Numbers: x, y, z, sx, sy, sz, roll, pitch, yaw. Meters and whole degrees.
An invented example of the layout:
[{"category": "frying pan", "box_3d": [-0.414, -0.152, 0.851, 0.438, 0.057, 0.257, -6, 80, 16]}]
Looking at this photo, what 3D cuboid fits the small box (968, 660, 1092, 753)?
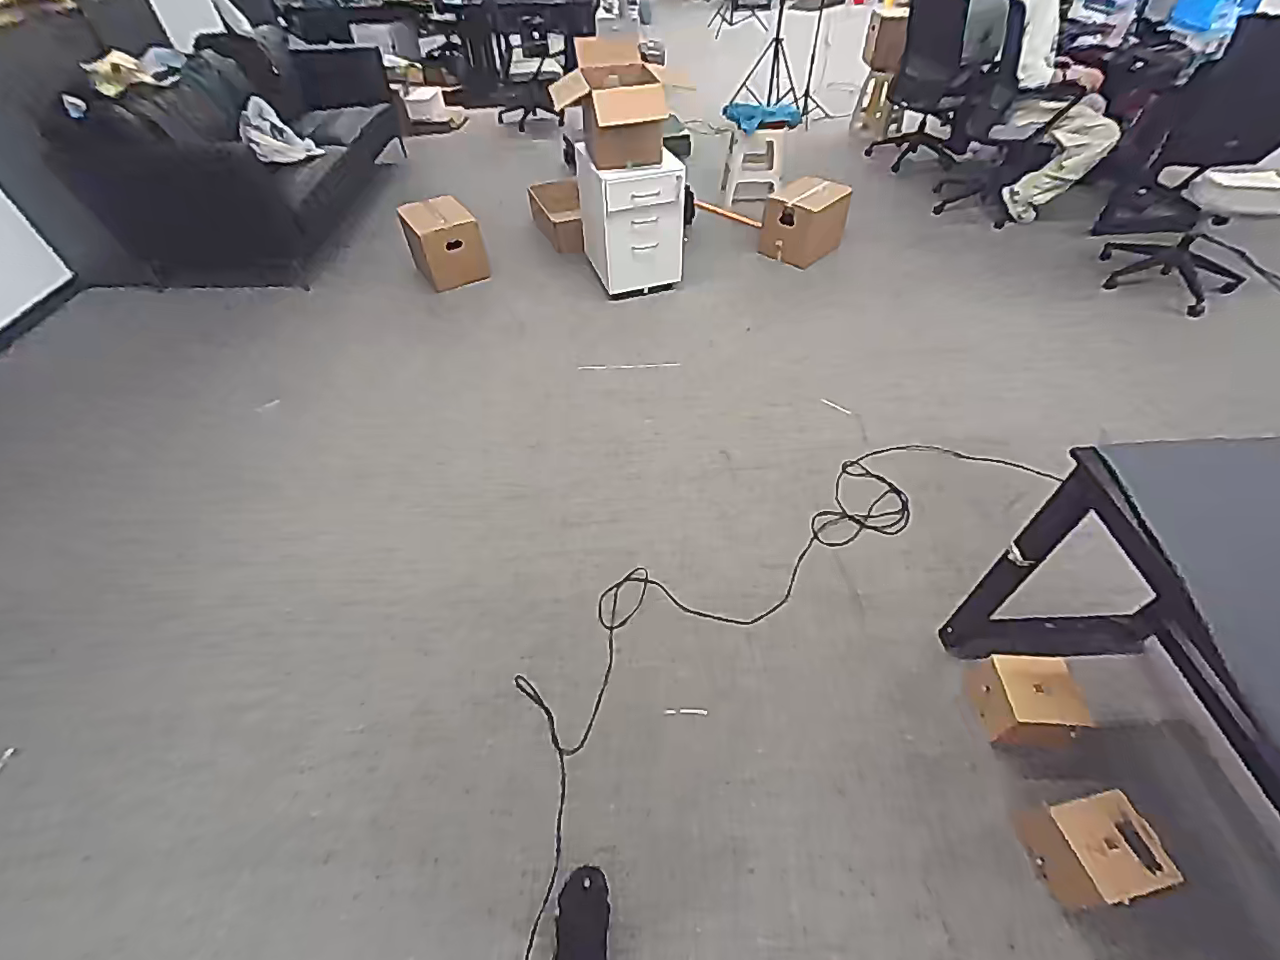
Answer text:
[{"category": "small box", "box_3d": [0.952, 0.567, 1.348, 0.179, 0.176, 0.168, 2, 47, 3]}]
